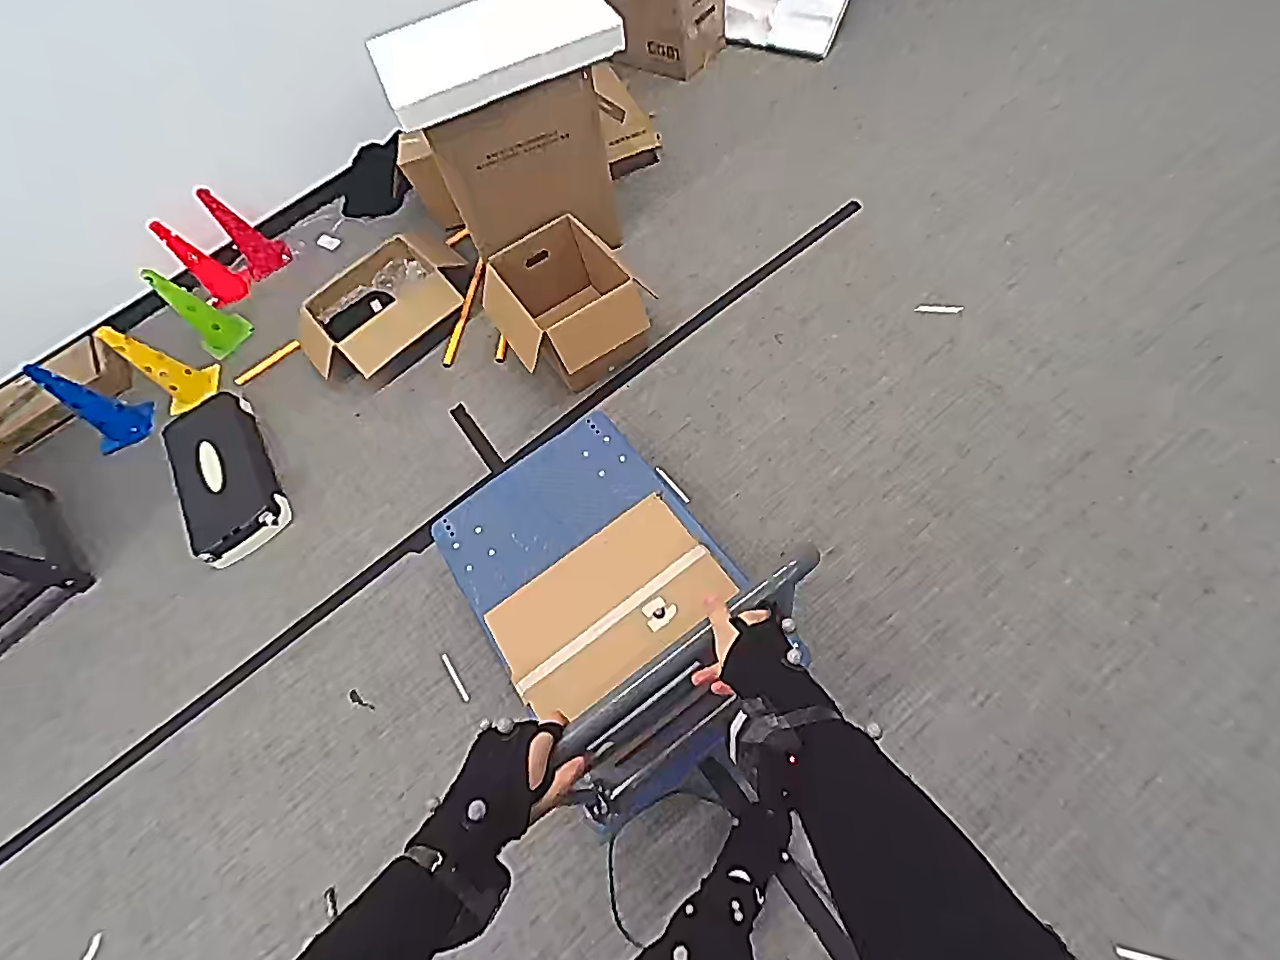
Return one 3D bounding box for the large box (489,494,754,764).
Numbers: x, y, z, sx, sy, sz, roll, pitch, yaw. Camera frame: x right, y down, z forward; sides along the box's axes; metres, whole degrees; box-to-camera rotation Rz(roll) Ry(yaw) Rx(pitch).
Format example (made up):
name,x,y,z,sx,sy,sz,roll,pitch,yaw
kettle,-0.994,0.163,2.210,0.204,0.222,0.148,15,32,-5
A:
name,x,y,z,sx,sy,sz,roll,pitch,yaw
large box,-0.018,0.312,1.104,0.408,0.320,0.320,-36,62,-9
